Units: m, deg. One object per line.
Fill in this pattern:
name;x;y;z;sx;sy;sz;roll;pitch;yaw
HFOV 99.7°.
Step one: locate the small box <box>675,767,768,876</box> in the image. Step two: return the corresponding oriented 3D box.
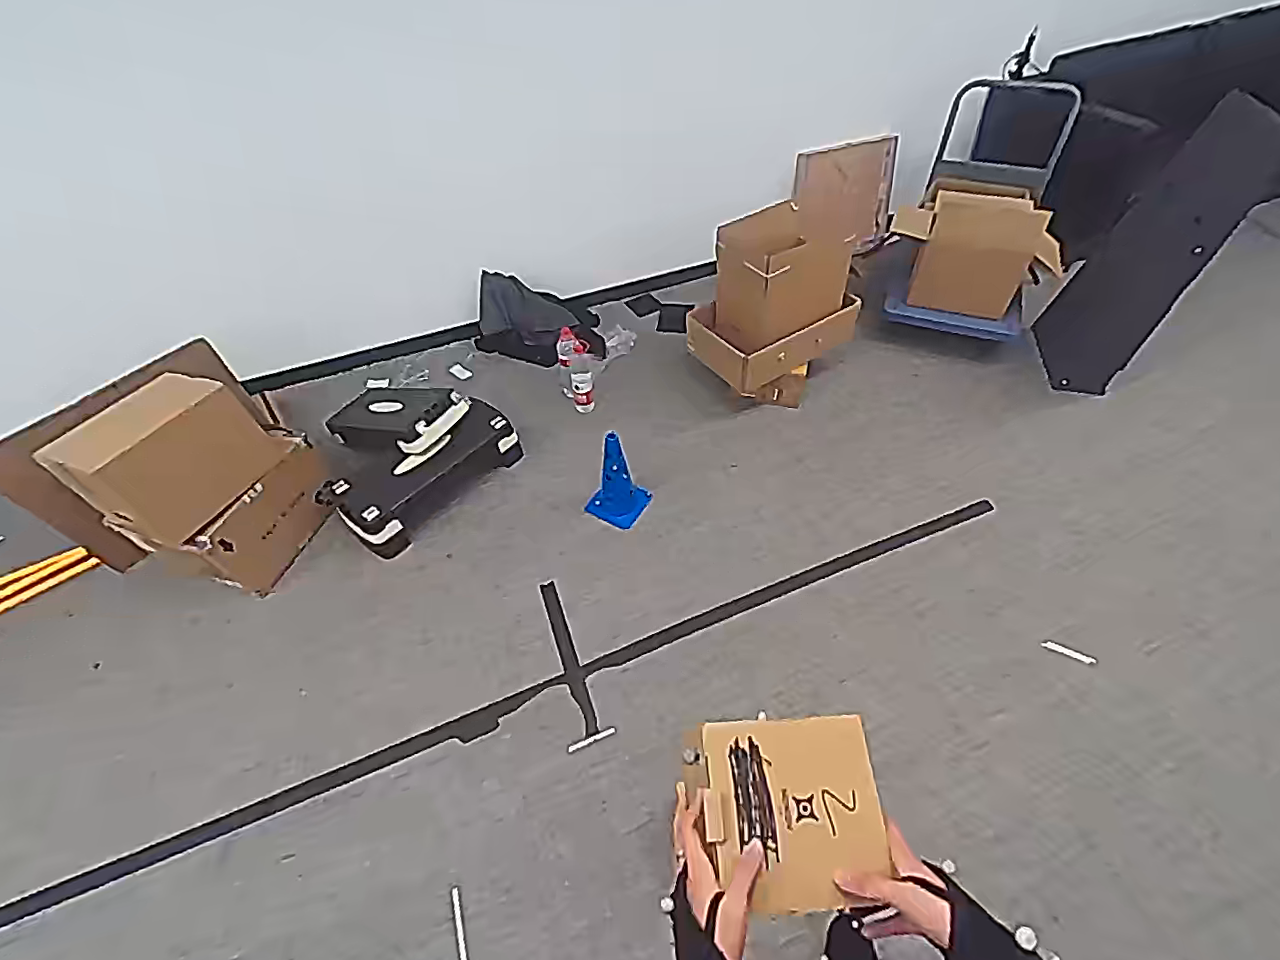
small box;0.190;0.826;1.302;0.168;0.176;0.179;-15;49;-10
